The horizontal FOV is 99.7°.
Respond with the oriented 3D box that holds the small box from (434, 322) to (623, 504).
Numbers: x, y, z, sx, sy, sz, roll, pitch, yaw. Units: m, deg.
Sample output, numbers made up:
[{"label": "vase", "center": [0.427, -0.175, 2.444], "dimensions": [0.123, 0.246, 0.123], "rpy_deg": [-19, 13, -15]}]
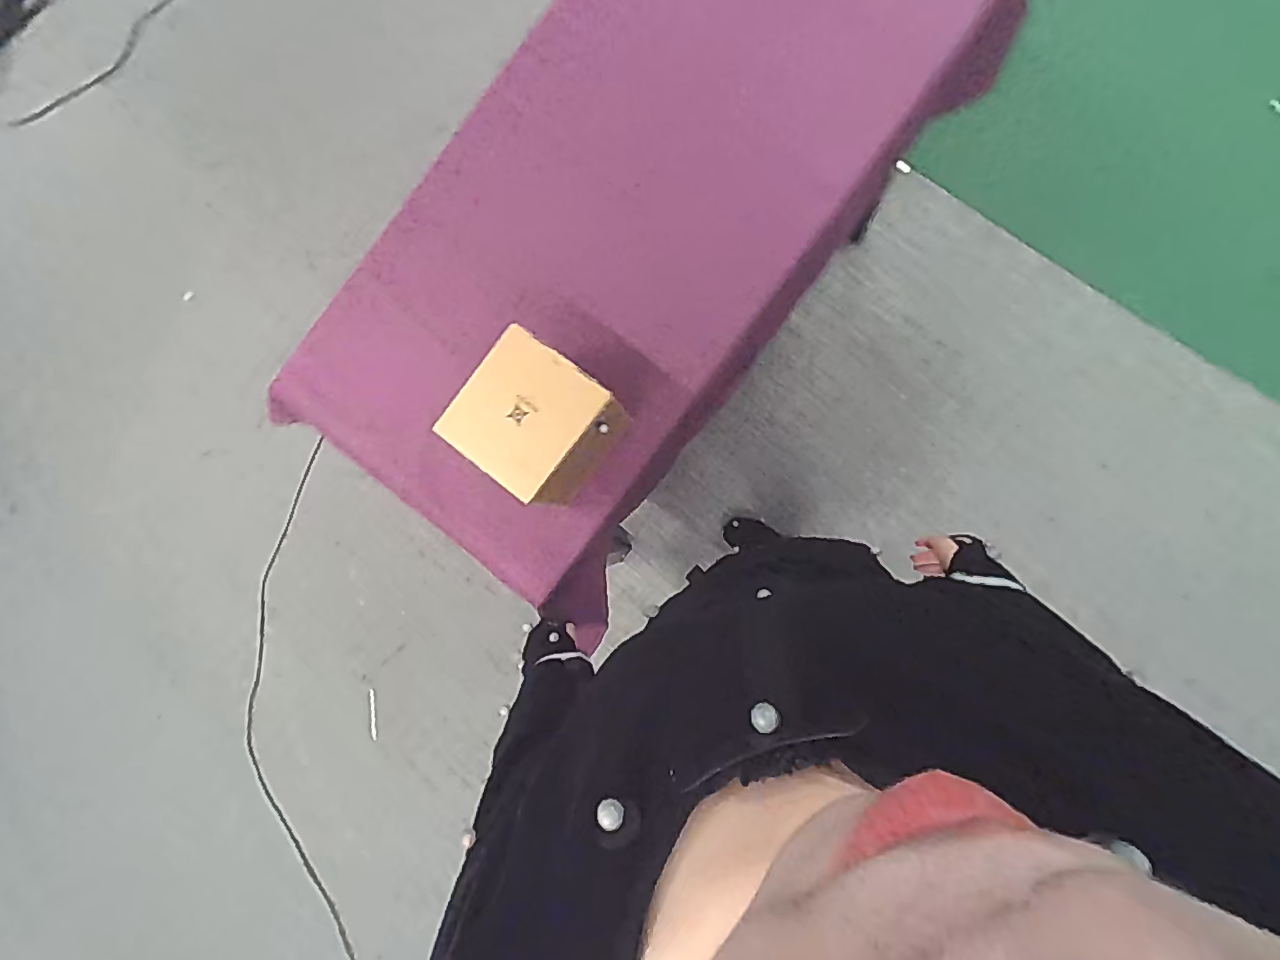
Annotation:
[{"label": "small box", "center": [-0.142, -0.080, 0.760], "dimensions": [0.168, 0.176, 0.179], "rpy_deg": [37, 90, 10]}]
